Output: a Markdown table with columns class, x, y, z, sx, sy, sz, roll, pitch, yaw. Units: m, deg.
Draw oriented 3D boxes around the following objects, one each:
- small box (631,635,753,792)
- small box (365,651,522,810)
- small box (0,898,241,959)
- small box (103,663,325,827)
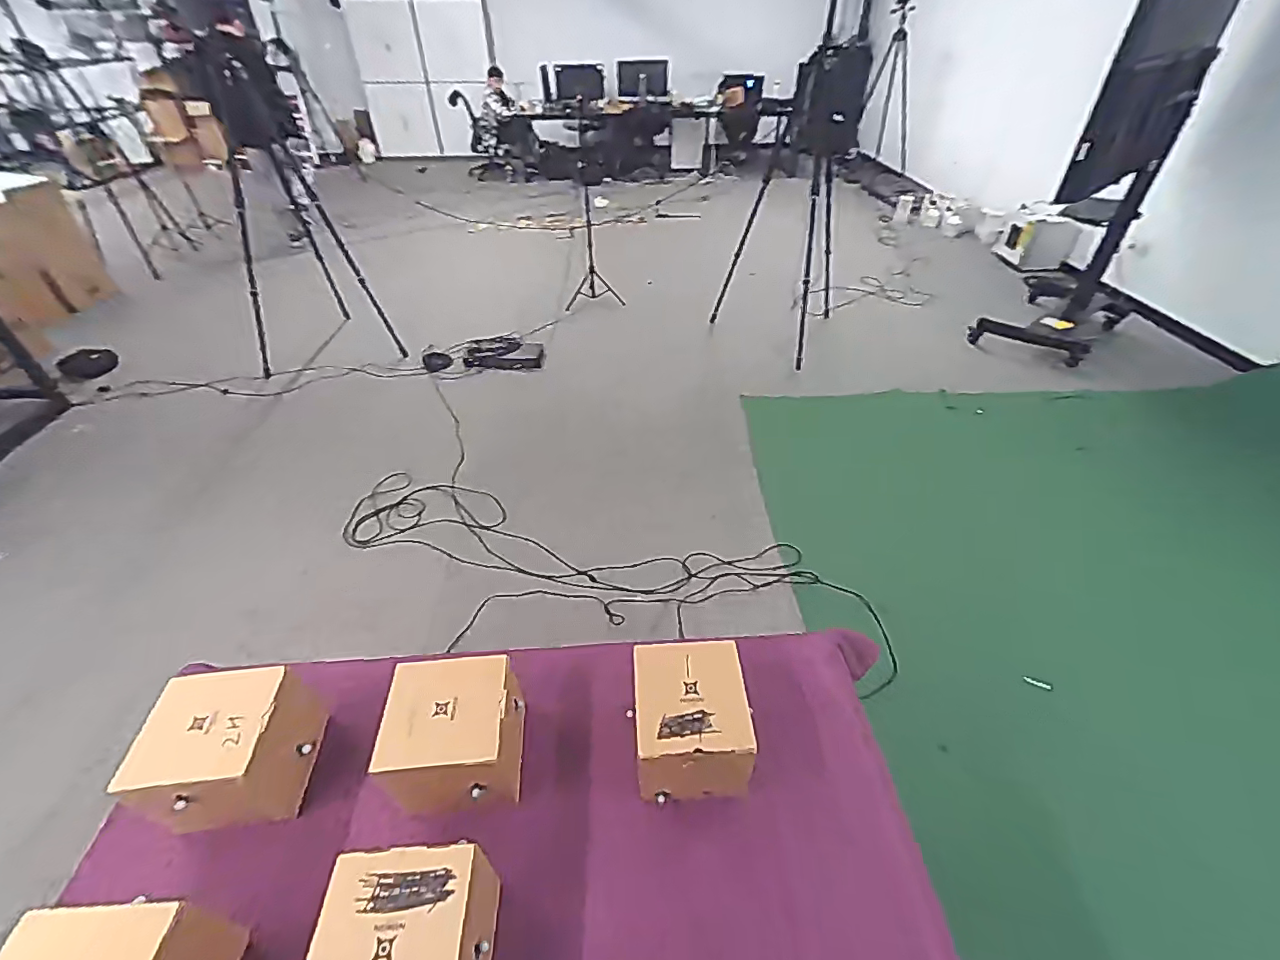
| class | x | y | z | sx | sy | sz | roll | pitch | yaw |
| --- | --- | --- | --- | --- | --- | --- | --- | --- | --- |
| small box | 0.074 | 0.367 | 0.844 | 0.168 | 0.176 | 0.179 | -3 | 41 | -1 |
| small box | -0.285 | 0.386 | 0.835 | 0.179 | 0.176 | 0.168 | -4 | 41 | -2 |
| small box | -0.606 | 0.593 | 0.602 | 0.179 | 0.176 | 0.168 | -2 | 40 | -2 |
| small box | -0.622 | 0.403 | 0.820 | 0.179 | 0.176 | 0.168 | -5 | 42 | -4 |
